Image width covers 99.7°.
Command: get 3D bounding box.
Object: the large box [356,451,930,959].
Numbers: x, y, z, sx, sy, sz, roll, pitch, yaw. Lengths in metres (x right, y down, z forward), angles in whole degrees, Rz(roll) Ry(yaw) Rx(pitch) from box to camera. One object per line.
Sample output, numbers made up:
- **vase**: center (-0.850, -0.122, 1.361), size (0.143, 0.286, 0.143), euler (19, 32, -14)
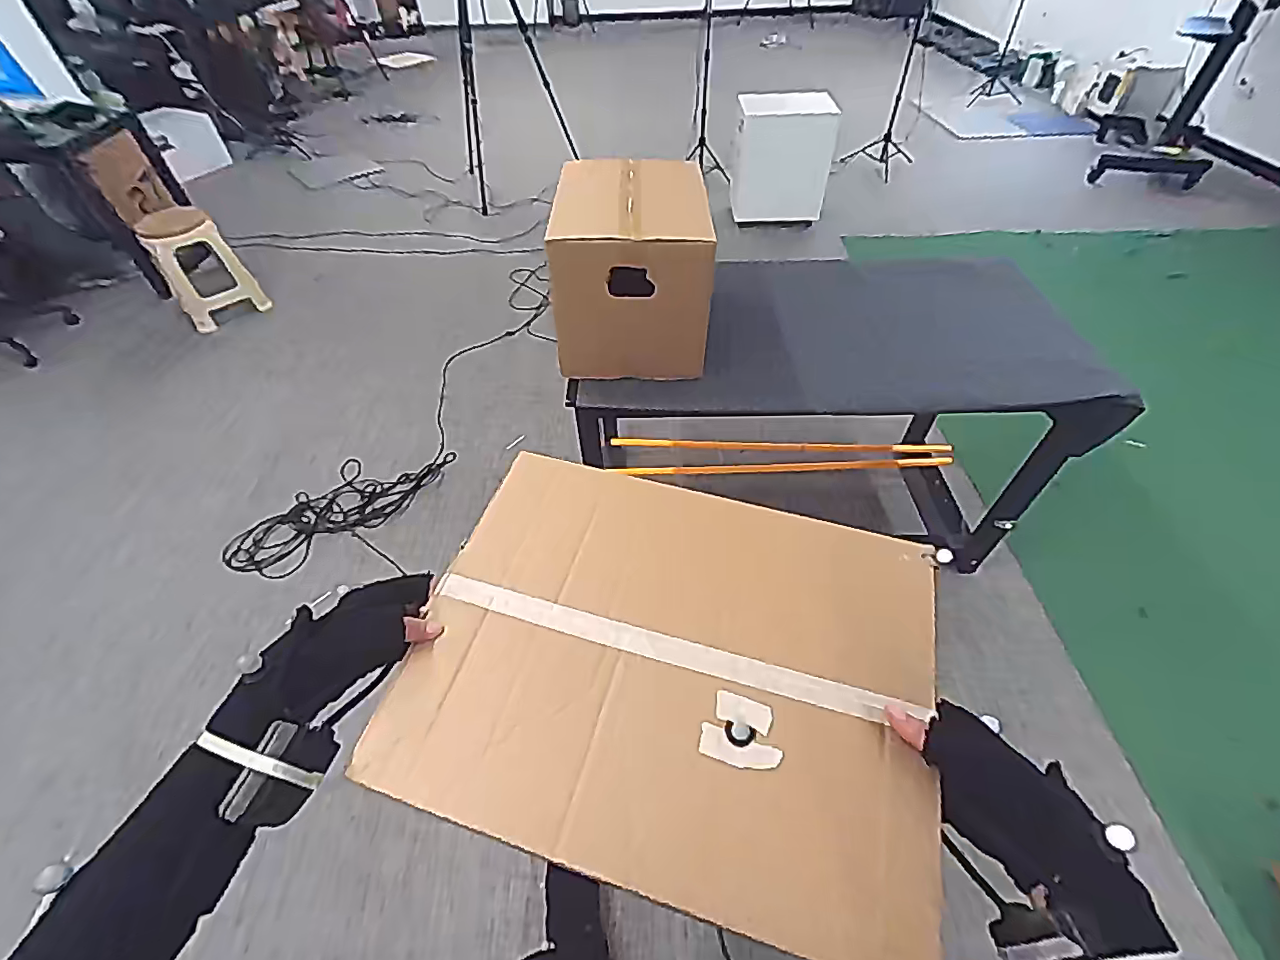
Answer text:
- **large box**: center (0.025, 0.215, 0.559), size (0.408, 0.320, 0.320), euler (13, 56, 11)
